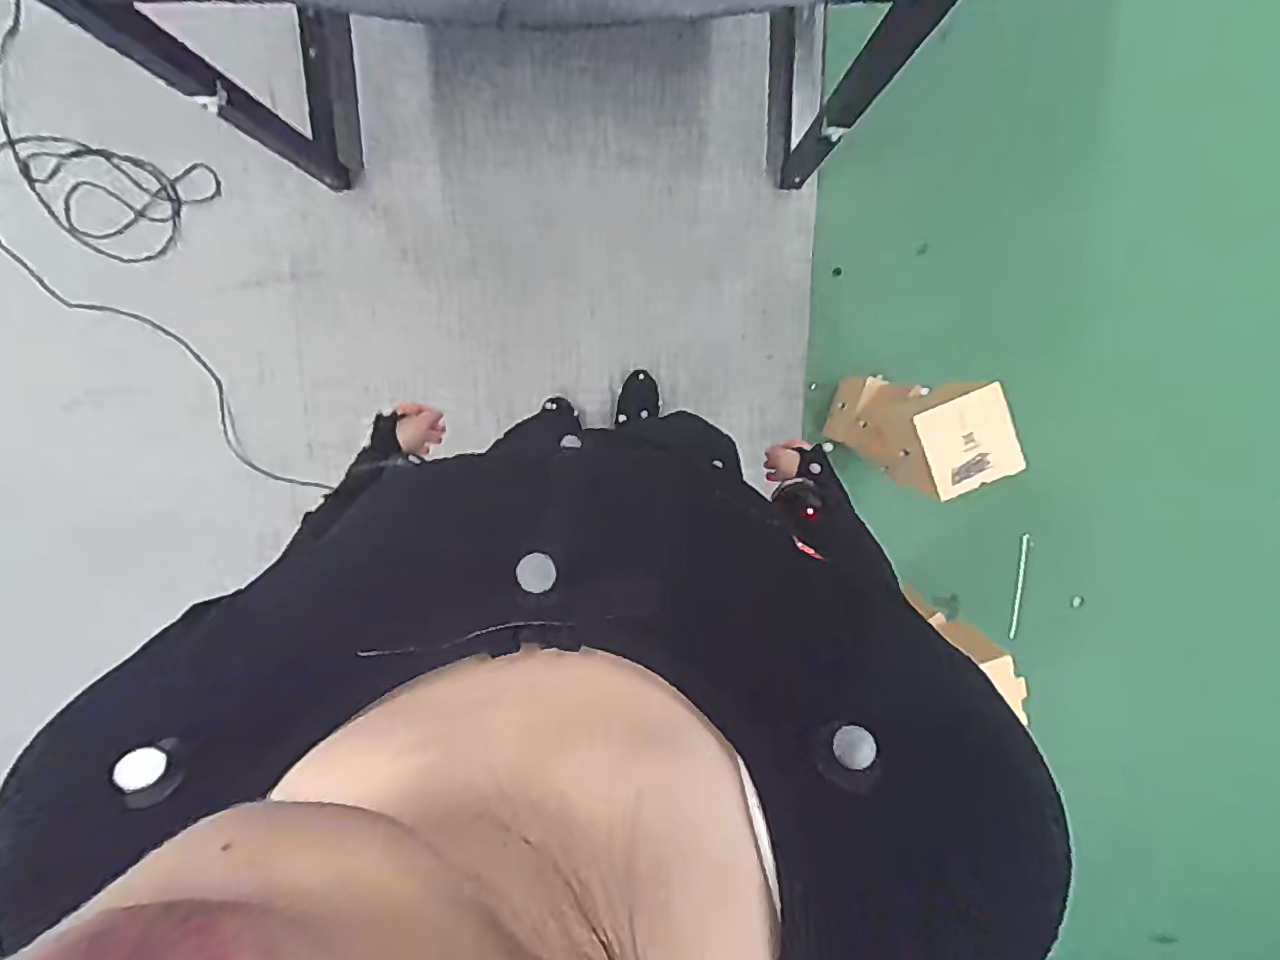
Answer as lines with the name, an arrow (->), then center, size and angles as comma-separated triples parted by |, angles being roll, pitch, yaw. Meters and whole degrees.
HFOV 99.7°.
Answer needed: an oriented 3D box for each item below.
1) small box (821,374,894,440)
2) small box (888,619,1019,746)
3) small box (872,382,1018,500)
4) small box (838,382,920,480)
small box -> 0.589, -0.166, 1.382 | 0.179, 0.176, 0.168 | 16, 101, -4
small box -> 0.658, 0.425, 1.160 | 0.179, 0.176, 0.168 | -19, 101, 3
small box -> 0.590, -0.084, 1.065 | 0.168, 0.176, 0.179 | -23, 99, 4
small box -> 0.587, -0.105, 1.228 | 0.179, 0.176, 0.168 | 36, 99, -8
